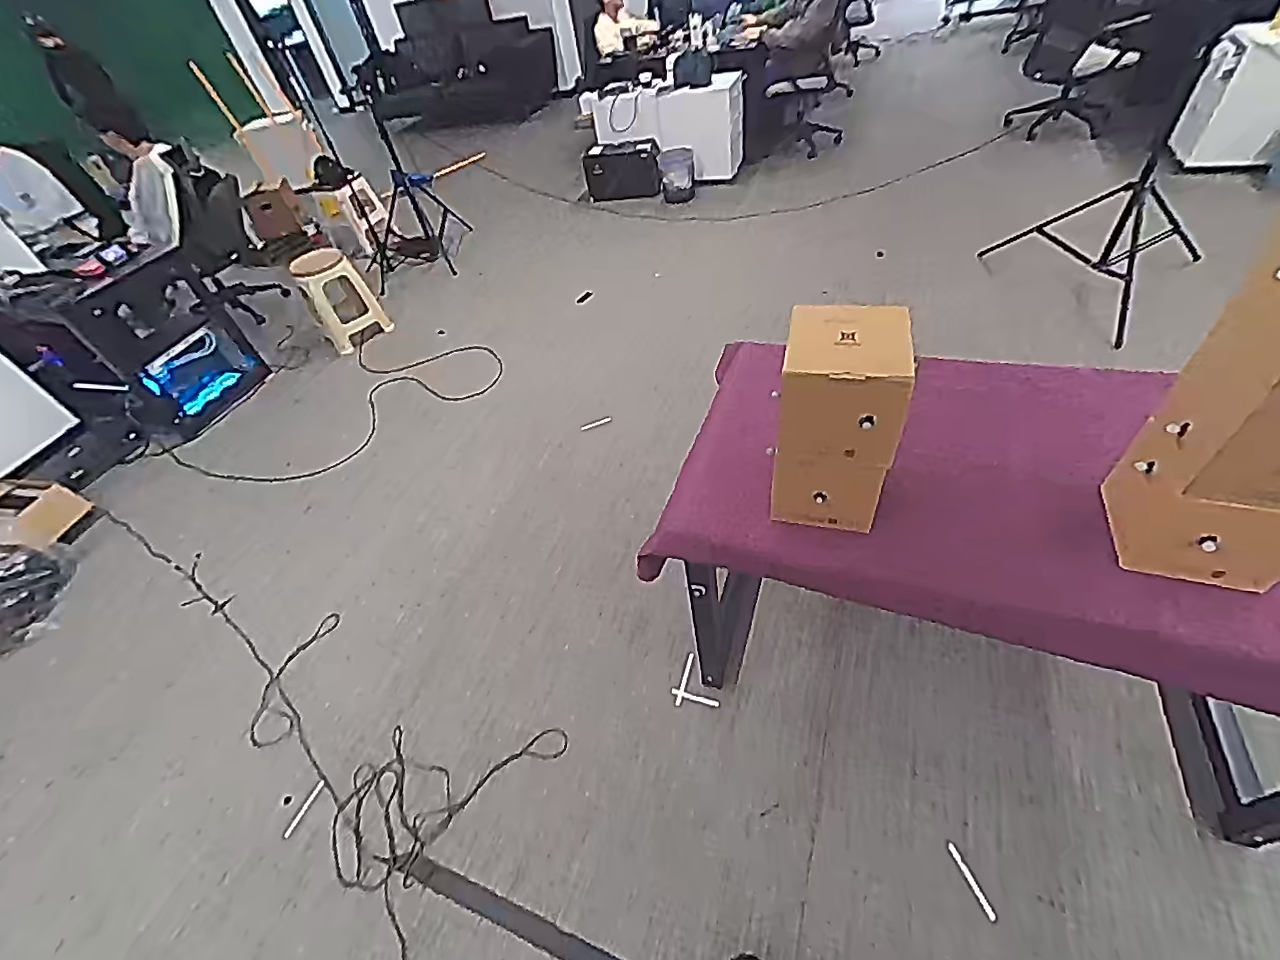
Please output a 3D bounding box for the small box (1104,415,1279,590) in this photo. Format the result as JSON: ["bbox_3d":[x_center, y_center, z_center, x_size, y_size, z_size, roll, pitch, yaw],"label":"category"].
[{"bbox_3d":[0.815,0.033,0.778,0.168,0.176,0.179,10,49,20],"label":"small box"}]

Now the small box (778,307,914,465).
[{"bbox_3d":[0.302,-0.141,0.813,0.168,0.176,0.179,6,48,15],"label":"small box"}]

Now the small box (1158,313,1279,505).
[{"bbox_3d":[0.793,-0.082,0.663,0.168,0.176,0.179,11,50,21],"label":"small box"}]

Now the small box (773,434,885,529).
[{"bbox_3d":[0.325,-0.036,0.935,0.168,0.176,0.179,7,48,17],"label":"small box"}]
